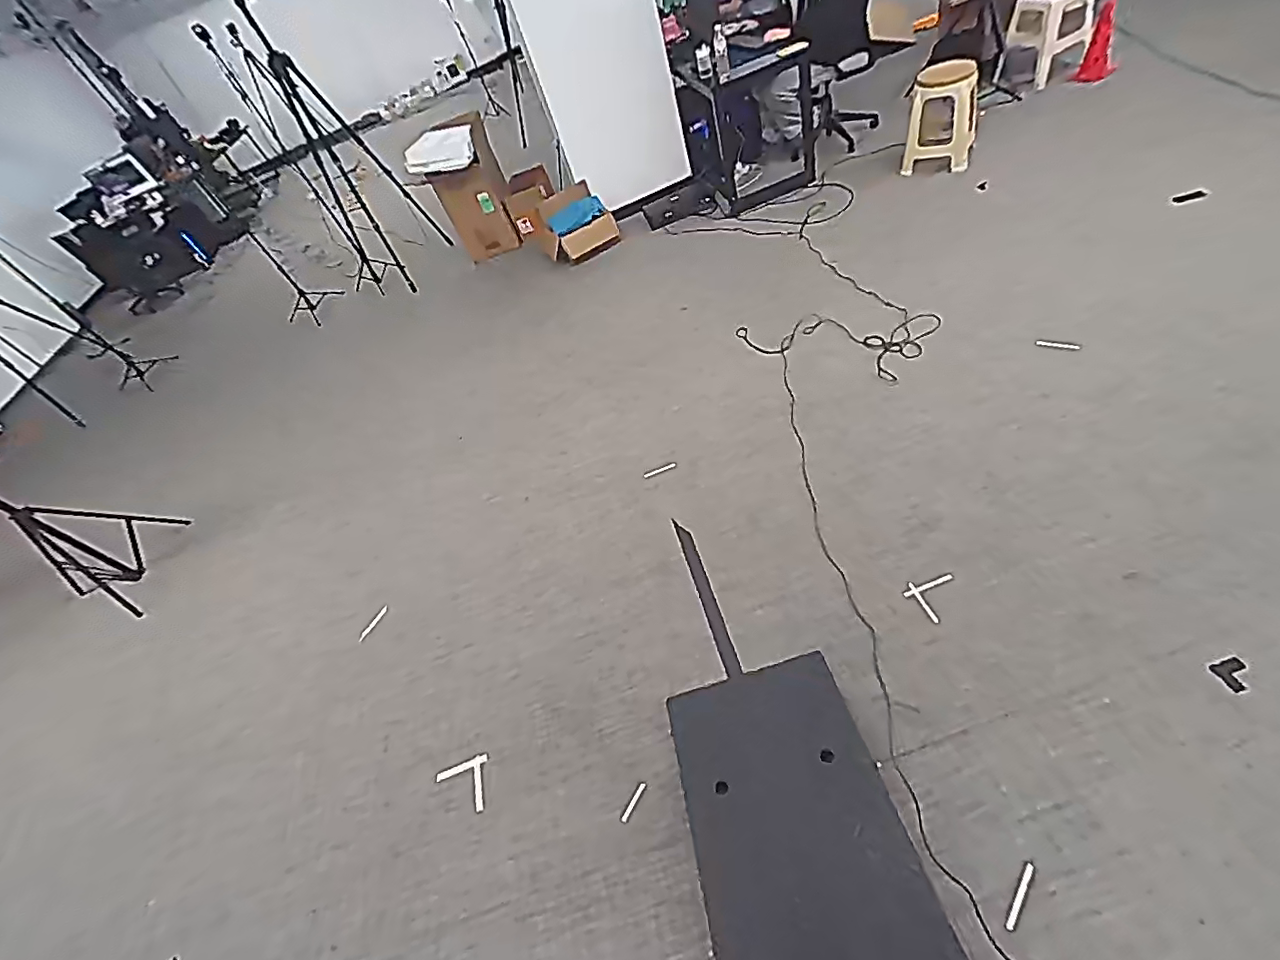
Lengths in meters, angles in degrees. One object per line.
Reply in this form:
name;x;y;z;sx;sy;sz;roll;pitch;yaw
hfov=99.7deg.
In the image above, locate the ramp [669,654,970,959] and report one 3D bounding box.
ramp;0.377;0.886;1.229;0.509;0.206;0.991;-22;46;4
